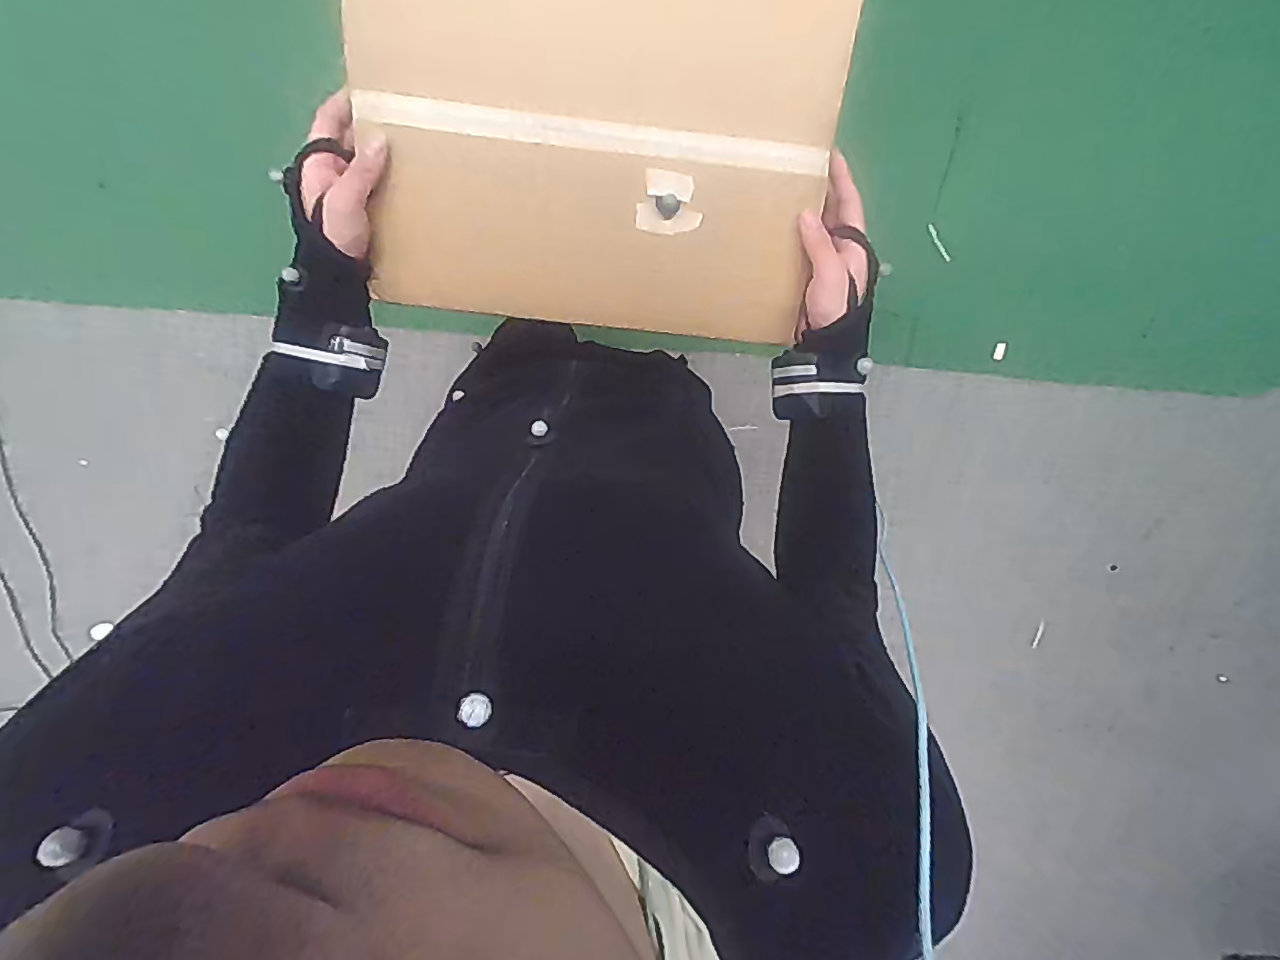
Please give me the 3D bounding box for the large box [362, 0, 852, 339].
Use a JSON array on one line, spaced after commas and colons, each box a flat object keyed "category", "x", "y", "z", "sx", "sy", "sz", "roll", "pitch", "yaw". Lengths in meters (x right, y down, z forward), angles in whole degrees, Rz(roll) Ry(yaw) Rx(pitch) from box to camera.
[{"category": "large box", "x": -0.040, "y": -0.351, "z": 0.614, "sx": 0.408, "sy": 0.320, "sz": 0.320, "roll": 5, "pitch": 112, "yaw": -4}]
